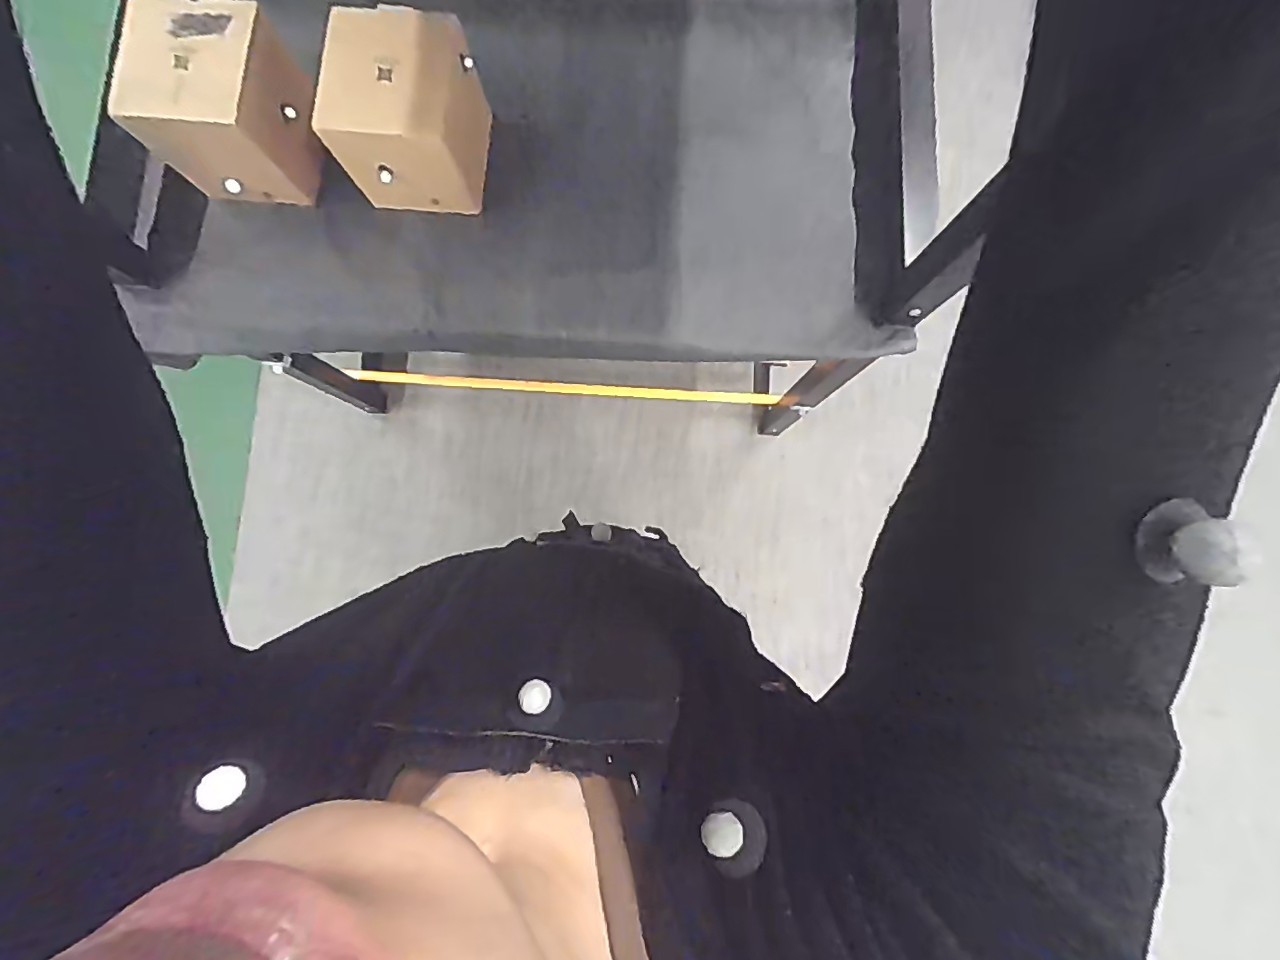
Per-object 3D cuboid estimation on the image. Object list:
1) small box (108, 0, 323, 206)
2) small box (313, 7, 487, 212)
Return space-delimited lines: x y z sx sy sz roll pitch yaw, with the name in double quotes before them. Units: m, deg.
"small box" -0.576 -0.524 0.763 0.168 0.176 0.179 4 84 0
"small box" -0.324 -0.508 0.765 0.168 0.176 0.179 4 83 0
